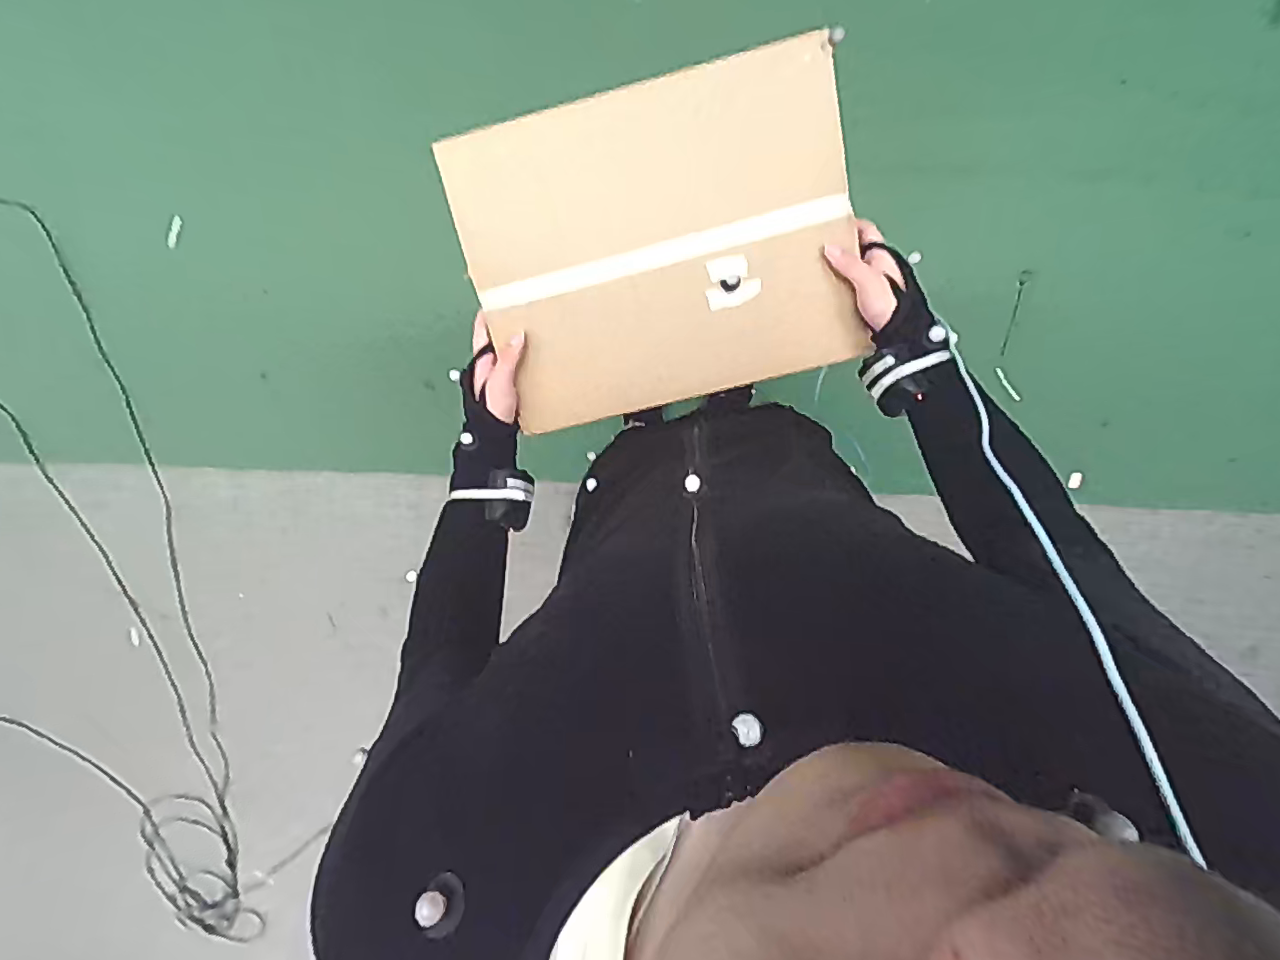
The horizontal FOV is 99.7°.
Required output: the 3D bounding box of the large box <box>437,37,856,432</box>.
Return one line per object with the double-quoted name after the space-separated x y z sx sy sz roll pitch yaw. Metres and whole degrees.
0.015 -0.285 0.728 0.408 0.320 0.320 -14 106 5 "large box"
